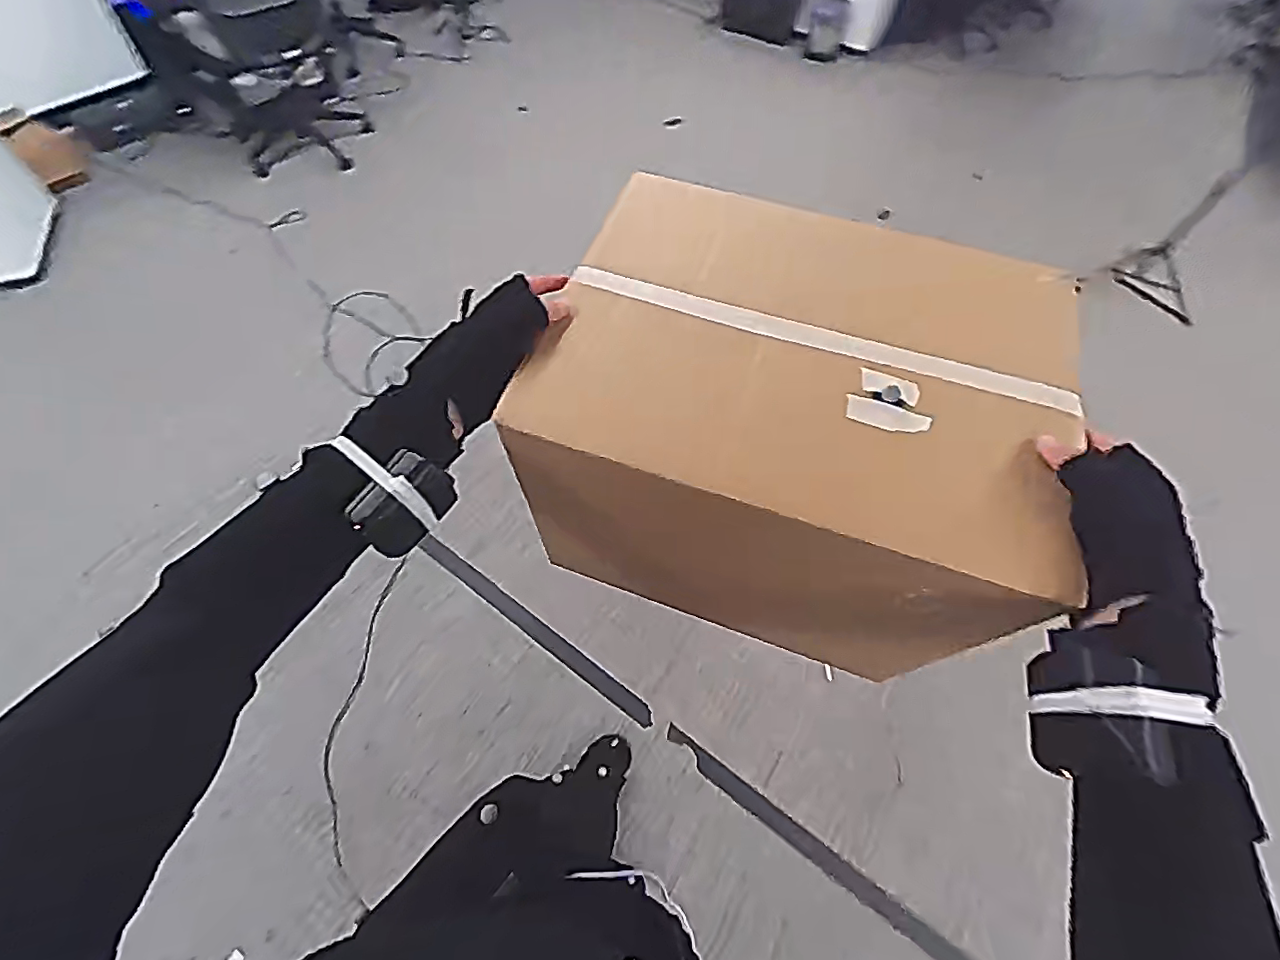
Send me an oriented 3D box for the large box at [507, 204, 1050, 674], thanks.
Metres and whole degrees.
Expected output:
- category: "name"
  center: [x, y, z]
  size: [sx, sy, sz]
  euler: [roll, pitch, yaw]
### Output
- category: "large box"
  center: [0.126, -0.028, 0.582]
  size: [0.408, 0.320, 0.320]
  euler: [18, 63, 8]
